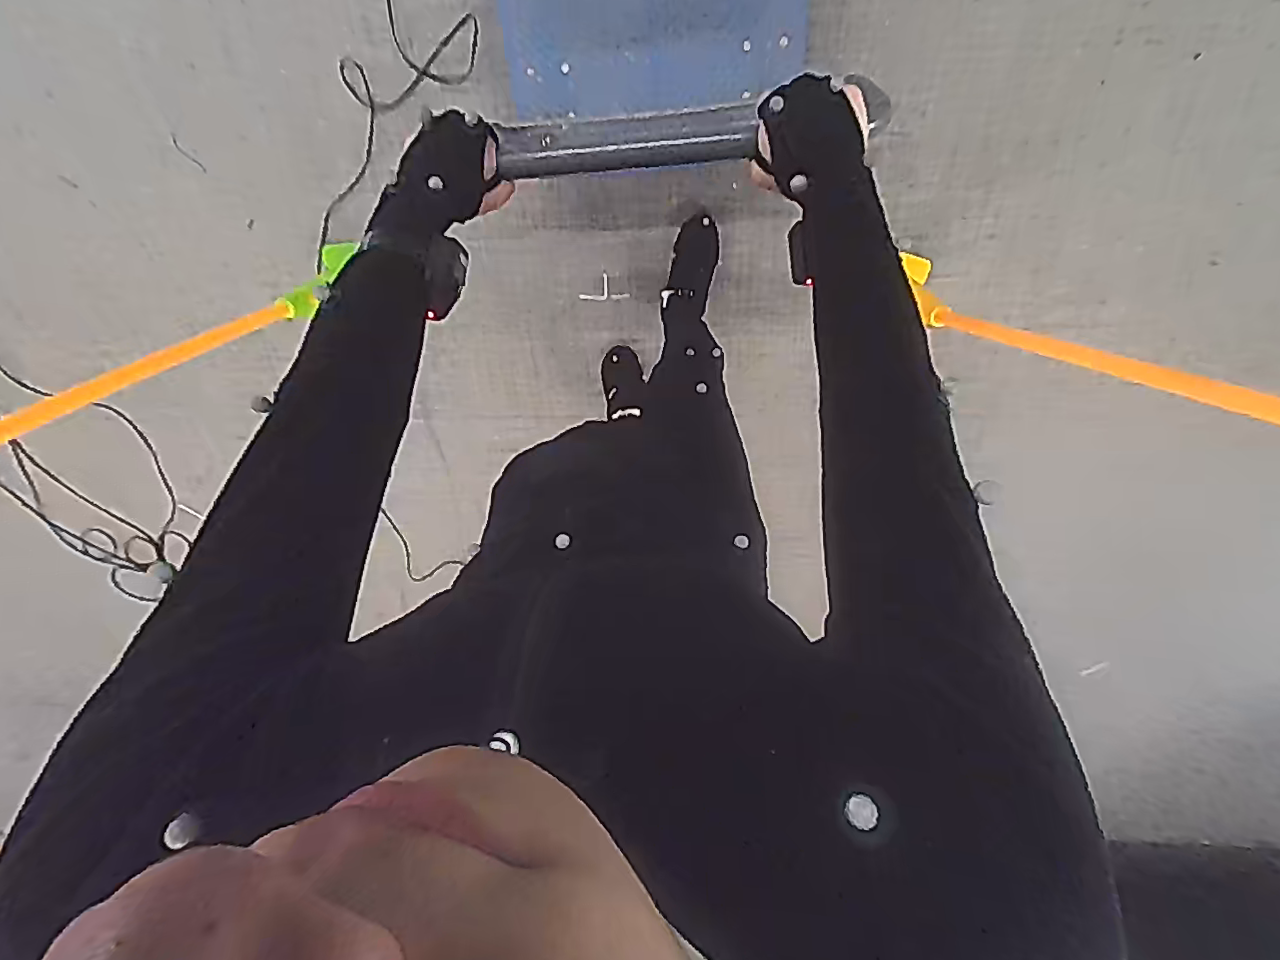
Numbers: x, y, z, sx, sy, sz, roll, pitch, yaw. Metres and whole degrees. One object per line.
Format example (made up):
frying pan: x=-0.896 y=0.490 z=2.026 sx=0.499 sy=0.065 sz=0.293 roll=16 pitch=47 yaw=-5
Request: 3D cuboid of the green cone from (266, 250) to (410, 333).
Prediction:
green cone: x=-0.738 y=-0.420 z=1.280 sx=0.202 sy=0.368 sz=0.200 roll=-3 pitch=116 yaw=6
